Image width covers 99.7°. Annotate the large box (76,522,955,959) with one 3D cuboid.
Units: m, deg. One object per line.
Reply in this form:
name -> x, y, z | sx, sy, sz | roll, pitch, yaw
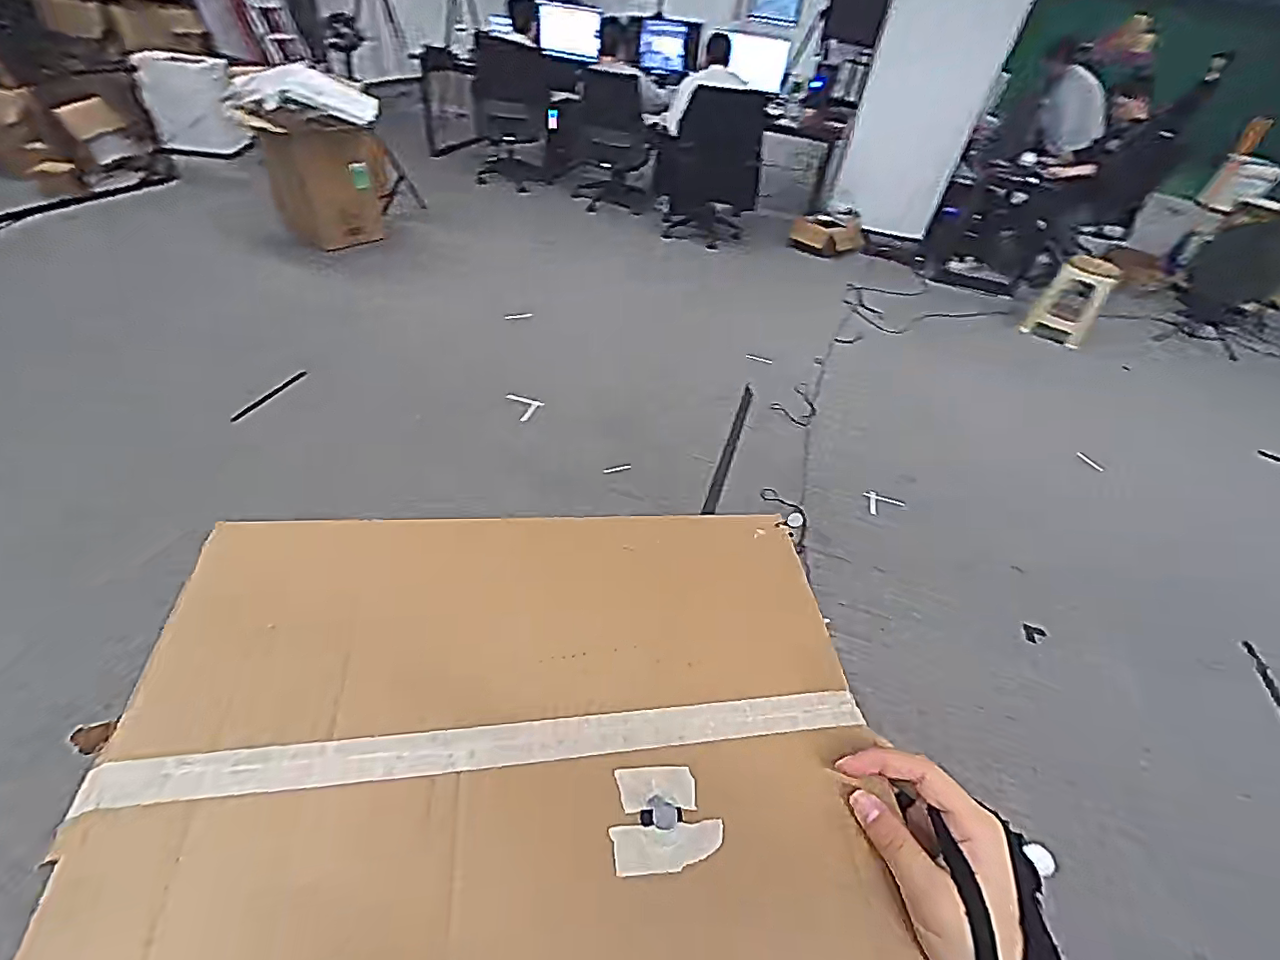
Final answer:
large box -> -0.077, 0.246, 0.421 | 0.408, 0.320, 0.320 | 2, 49, -12
